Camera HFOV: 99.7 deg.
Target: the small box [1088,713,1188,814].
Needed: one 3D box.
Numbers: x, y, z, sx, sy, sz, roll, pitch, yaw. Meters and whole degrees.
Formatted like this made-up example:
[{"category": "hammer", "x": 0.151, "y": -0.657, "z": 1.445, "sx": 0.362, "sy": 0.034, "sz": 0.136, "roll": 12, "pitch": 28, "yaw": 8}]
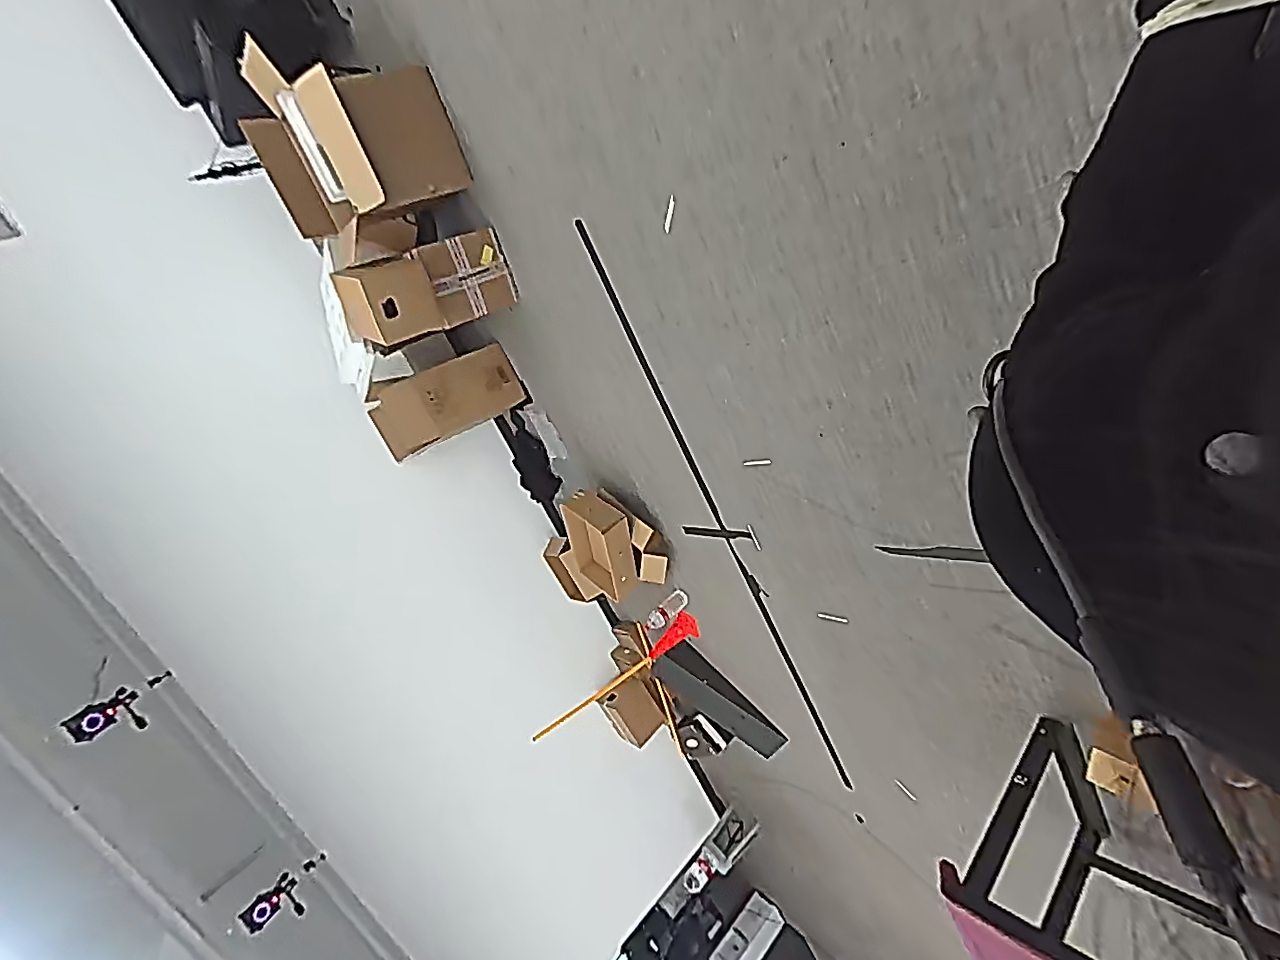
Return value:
[{"category": "small box", "x": 1.463, "y": 0.822, "z": 1.592, "sx": 0.179, "sy": 0.176, "sz": 0.168, "roll": 17, "pitch": 133, "yaw": 46}]
